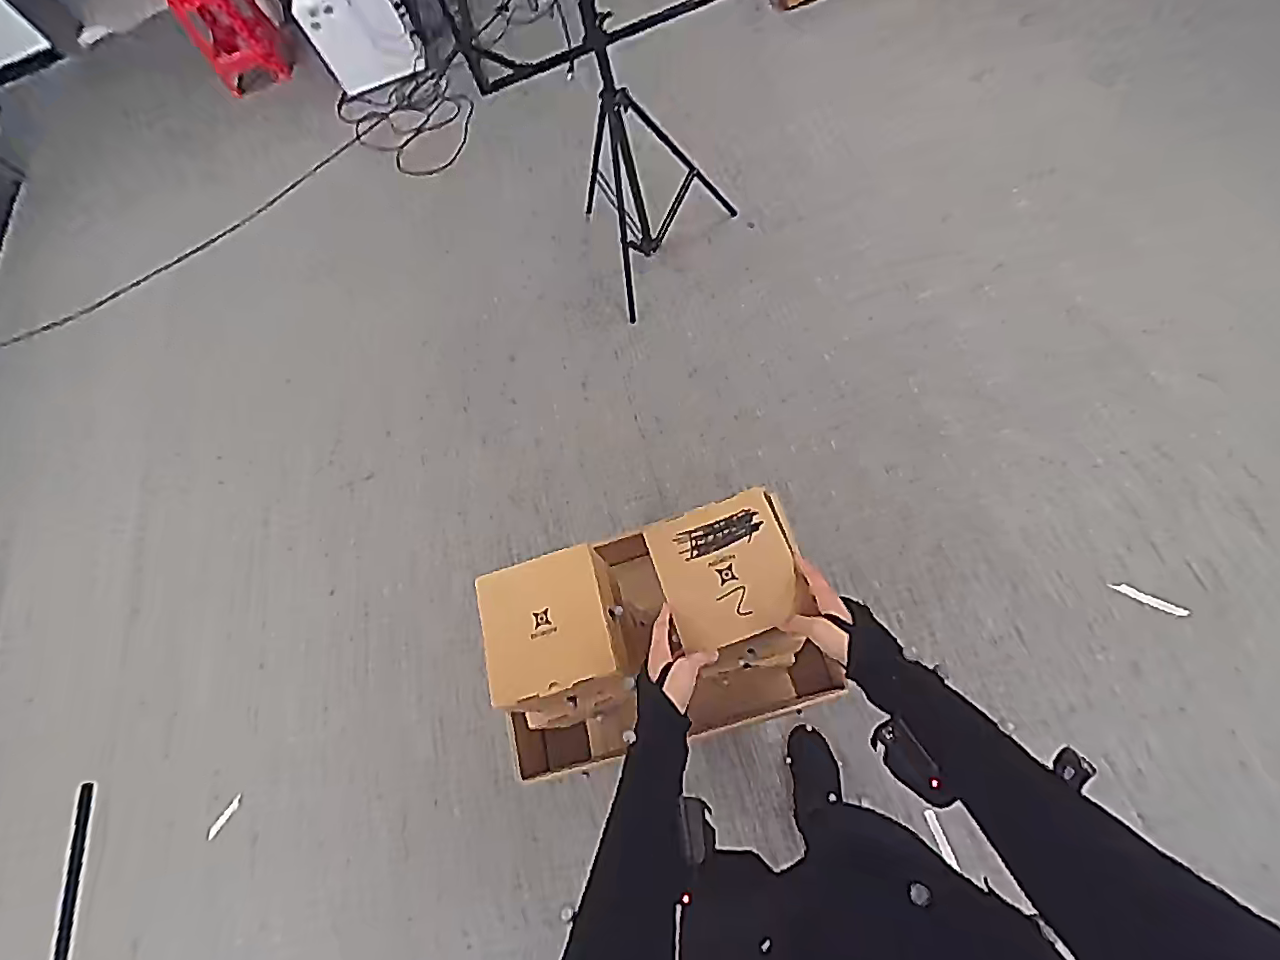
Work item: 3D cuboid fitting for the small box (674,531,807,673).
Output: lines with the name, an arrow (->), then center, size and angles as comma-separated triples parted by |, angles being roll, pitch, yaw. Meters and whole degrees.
small box -> 0.162, 0.206, 0.886 | 0.168, 0.176, 0.179 | -15, 64, 6

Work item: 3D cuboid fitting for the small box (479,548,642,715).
small box -> -0.106, 0.222, 0.766 | 0.168, 0.176, 0.179 | -19, 65, 2

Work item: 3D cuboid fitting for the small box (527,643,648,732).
small box -> -0.097, 0.306, 0.907 | 0.168, 0.176, 0.179 | -22, 65, 2
